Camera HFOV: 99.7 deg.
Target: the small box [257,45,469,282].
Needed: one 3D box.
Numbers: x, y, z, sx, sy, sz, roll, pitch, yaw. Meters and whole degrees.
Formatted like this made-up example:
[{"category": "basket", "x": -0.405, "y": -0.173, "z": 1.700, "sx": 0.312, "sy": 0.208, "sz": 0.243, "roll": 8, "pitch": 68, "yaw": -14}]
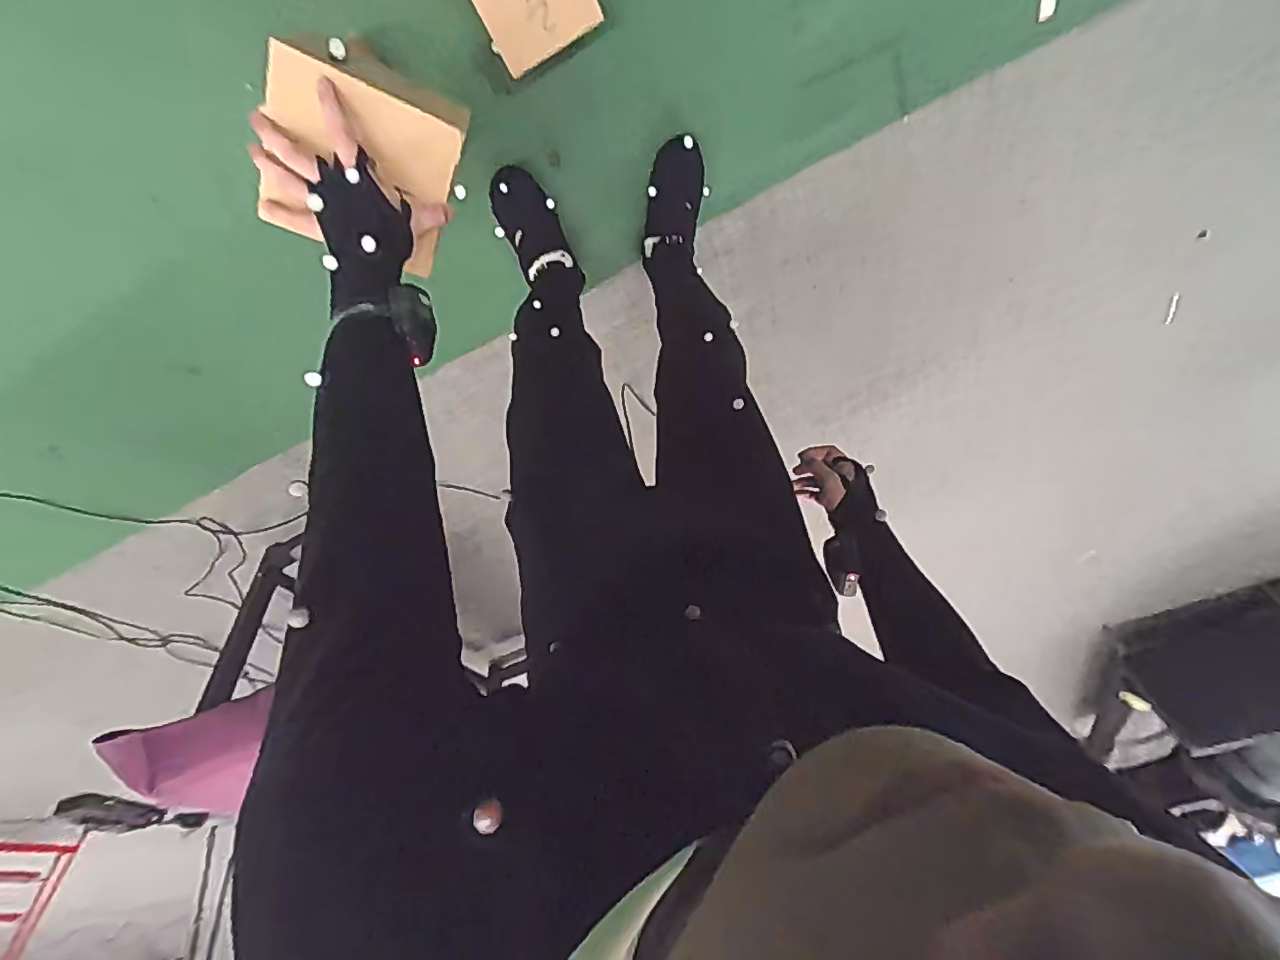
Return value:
[{"category": "small box", "x": -0.308, "y": -0.363, "z": 0.624, "sx": 0.179, "sy": 0.176, "sz": 0.168, "roll": 14, "pitch": 126, "yaw": -25}]
